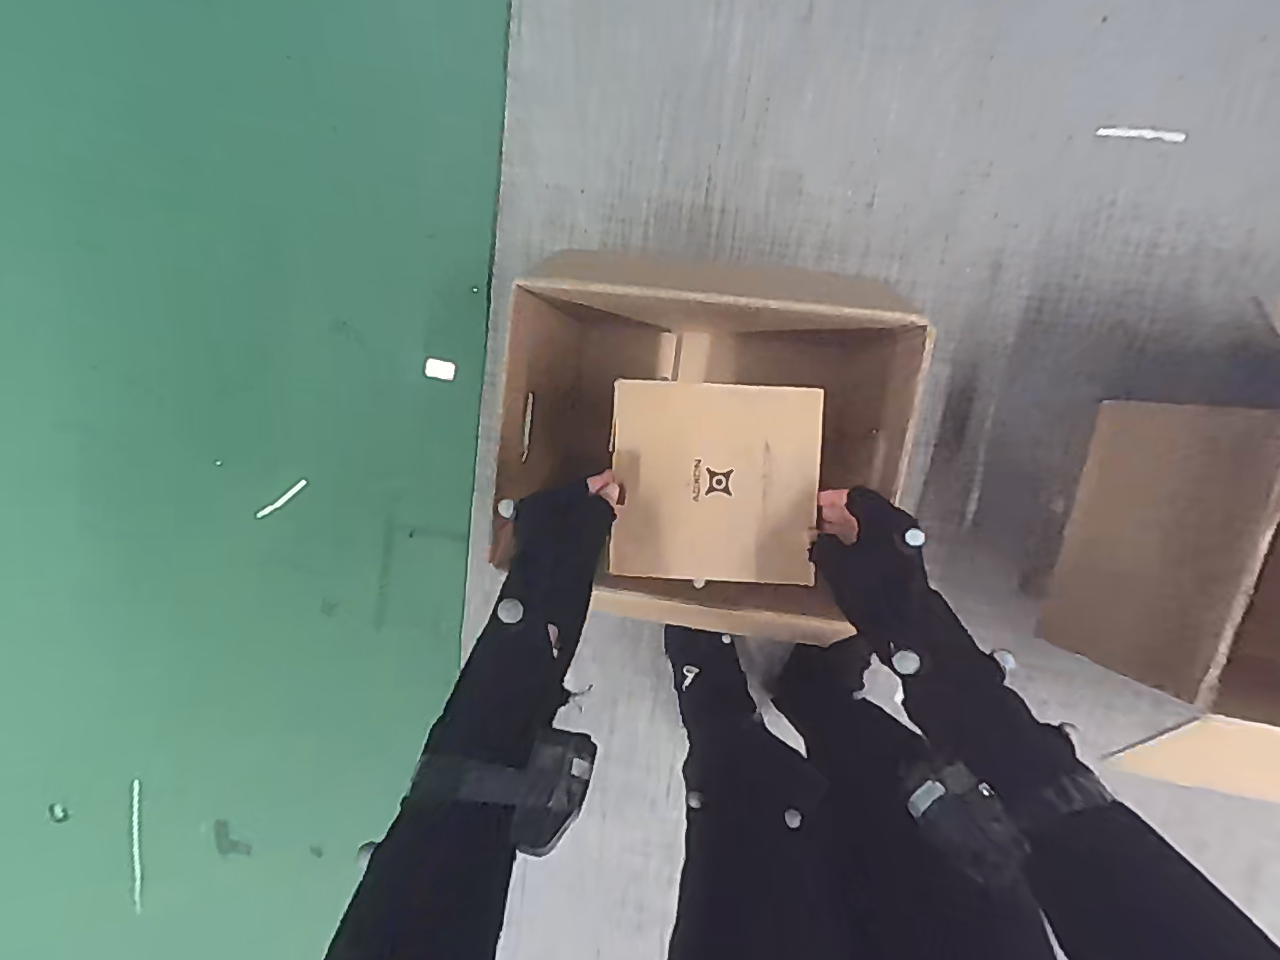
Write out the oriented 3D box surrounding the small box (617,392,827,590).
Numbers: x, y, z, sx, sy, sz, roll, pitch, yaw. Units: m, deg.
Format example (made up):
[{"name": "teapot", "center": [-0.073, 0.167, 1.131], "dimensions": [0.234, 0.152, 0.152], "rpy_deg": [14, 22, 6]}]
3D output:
[{"name": "small box", "center": [0.070, 0.008, 0.540], "dimensions": [0.179, 0.176, 0.168], "rpy_deg": [2, 91, -1]}]
